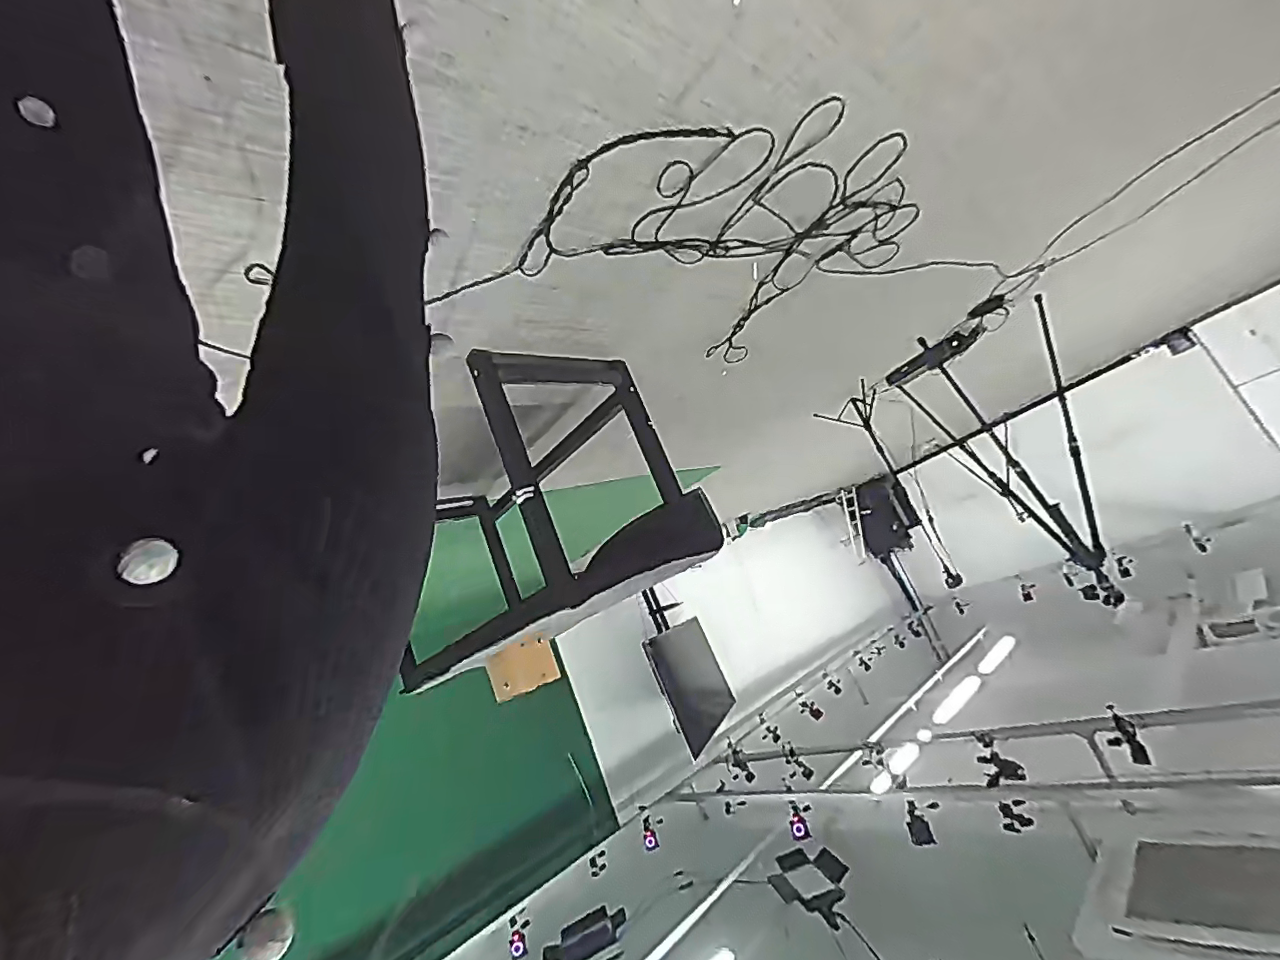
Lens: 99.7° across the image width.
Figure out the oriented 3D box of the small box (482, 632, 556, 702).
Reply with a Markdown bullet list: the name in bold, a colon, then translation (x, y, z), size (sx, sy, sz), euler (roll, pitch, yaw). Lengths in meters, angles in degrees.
- **small box**: translation (-0.425, 0.643, 1.874), size (0.168, 0.176, 0.179), euler (-7, 160, -46)
